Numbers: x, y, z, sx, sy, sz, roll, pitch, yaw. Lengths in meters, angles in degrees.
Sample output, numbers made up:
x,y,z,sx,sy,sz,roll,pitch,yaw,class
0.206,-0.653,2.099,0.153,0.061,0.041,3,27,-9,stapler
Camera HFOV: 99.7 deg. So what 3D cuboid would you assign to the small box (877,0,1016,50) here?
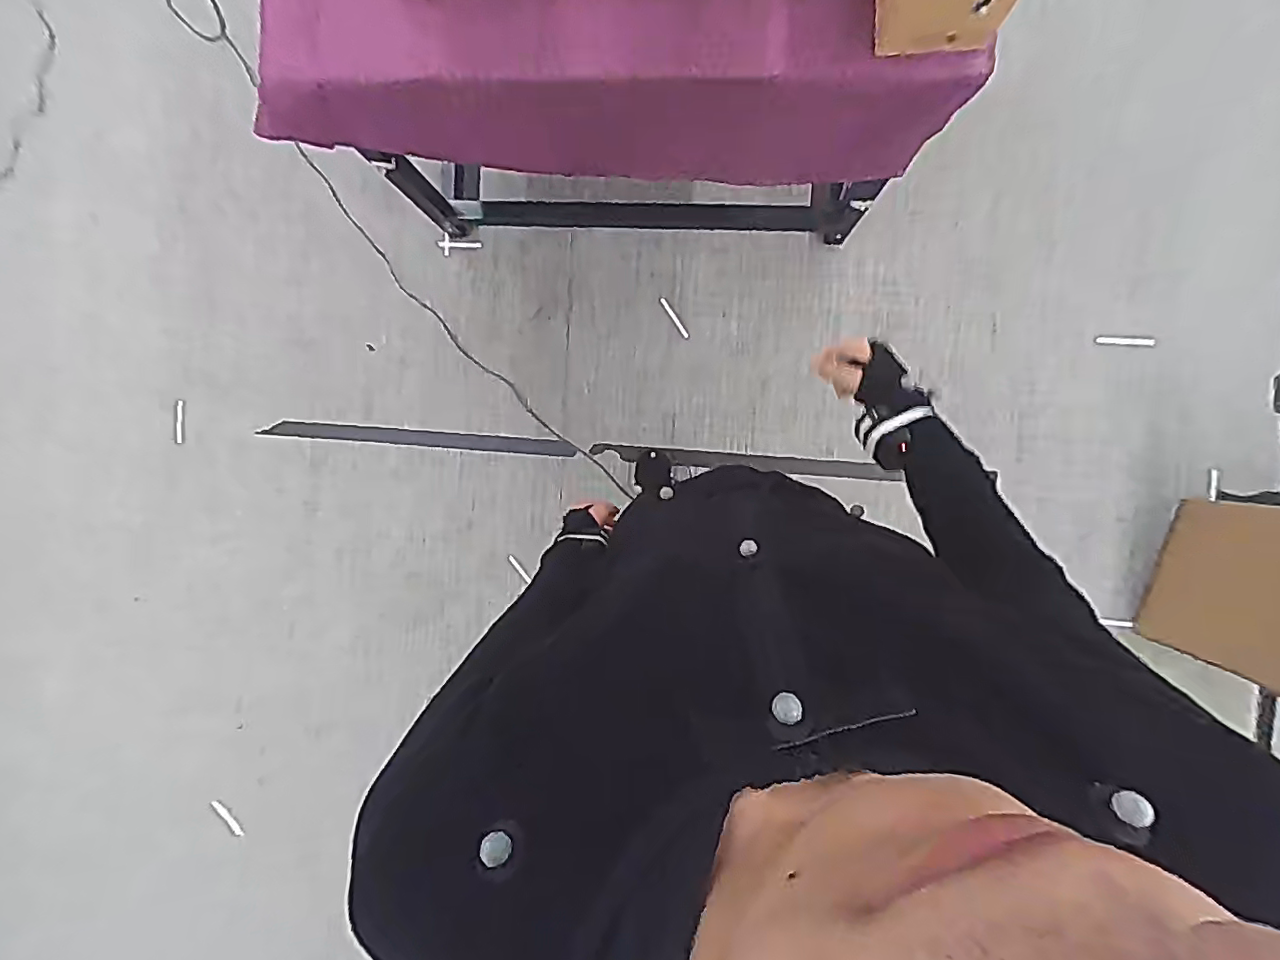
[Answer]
x,y,z,sx,sy,sz,roll,pitch,yaw,class
0.446,-0.745,0.758,0.168,0.176,0.179,1,91,5,small box
